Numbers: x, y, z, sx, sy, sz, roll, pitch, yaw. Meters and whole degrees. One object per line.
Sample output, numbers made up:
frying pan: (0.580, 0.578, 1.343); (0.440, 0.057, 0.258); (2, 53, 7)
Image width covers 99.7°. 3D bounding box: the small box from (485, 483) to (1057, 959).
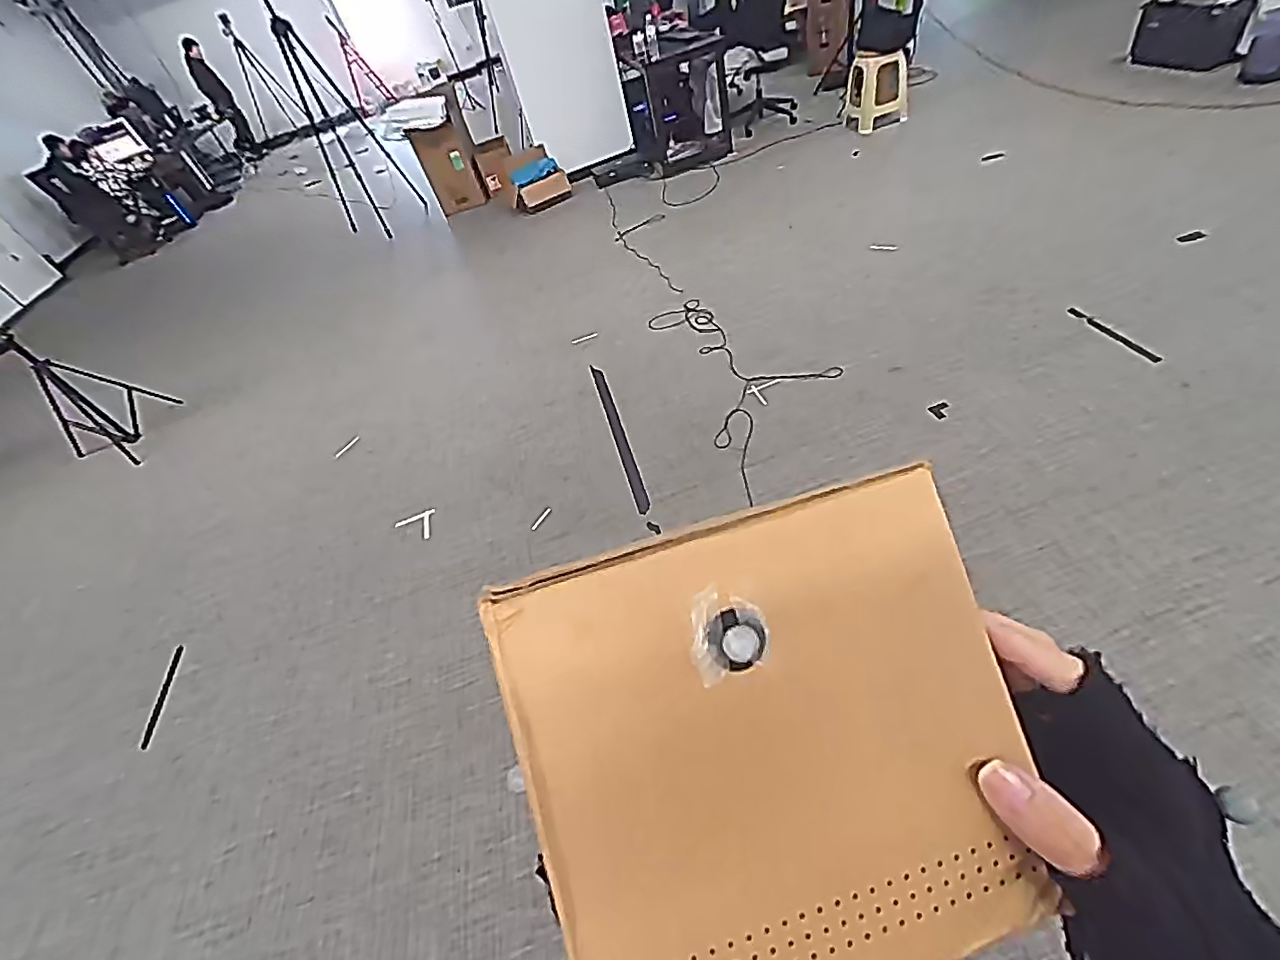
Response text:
small box: (0.046, 0.114, 0.266); (0.179, 0.168, 0.176); (-16, 84, -5)
